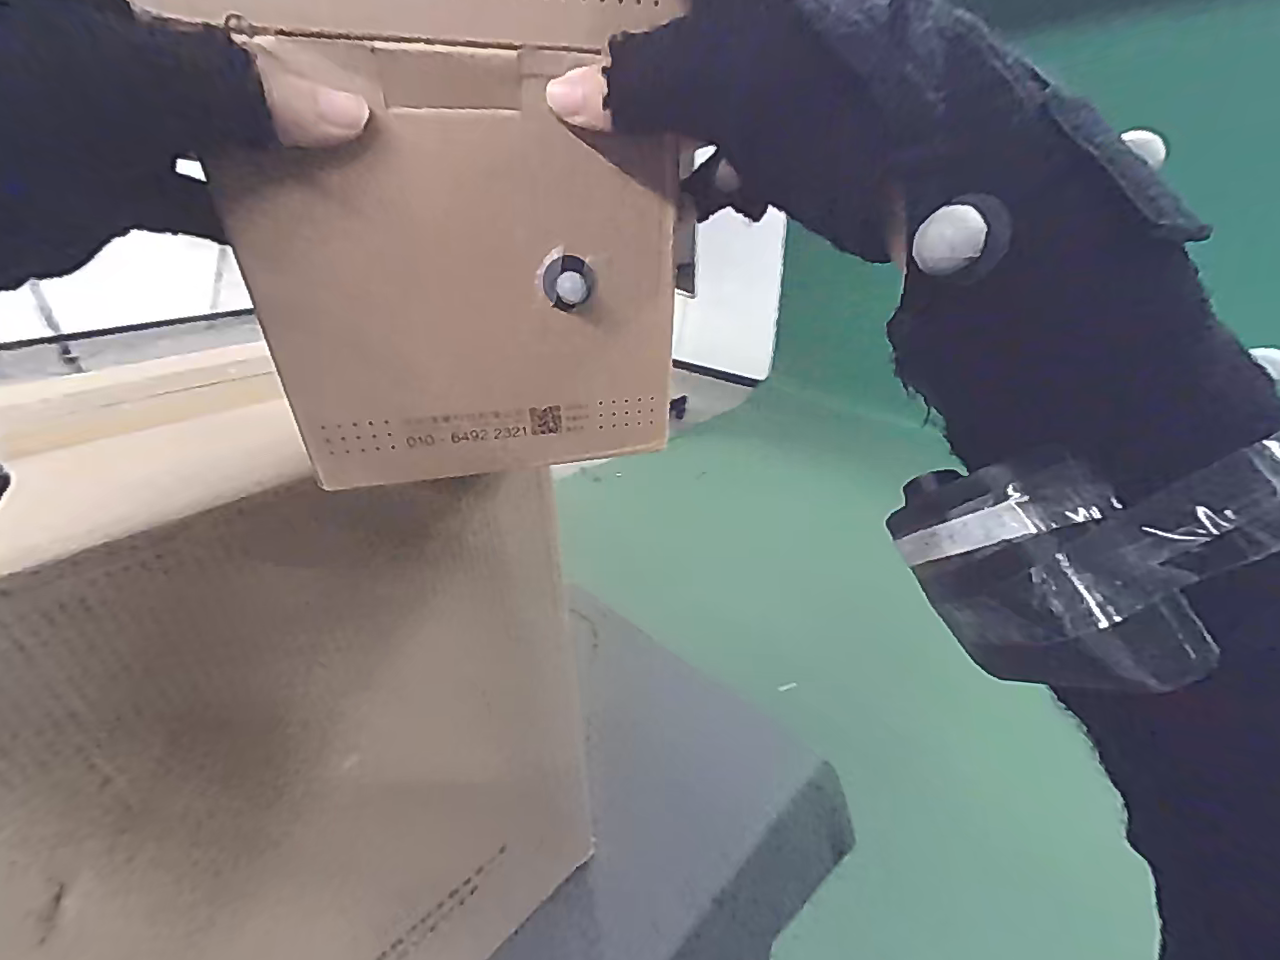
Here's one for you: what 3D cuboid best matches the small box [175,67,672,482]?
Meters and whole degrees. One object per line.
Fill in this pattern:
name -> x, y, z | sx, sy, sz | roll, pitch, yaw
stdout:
small box -> -0.085, -0.108, 0.292 | 0.168, 0.176, 0.179 | -6, 33, -13

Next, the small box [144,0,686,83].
small box -> -0.079, -0.244, 0.200 | 0.179, 0.176, 0.168 | -7, 36, -16
